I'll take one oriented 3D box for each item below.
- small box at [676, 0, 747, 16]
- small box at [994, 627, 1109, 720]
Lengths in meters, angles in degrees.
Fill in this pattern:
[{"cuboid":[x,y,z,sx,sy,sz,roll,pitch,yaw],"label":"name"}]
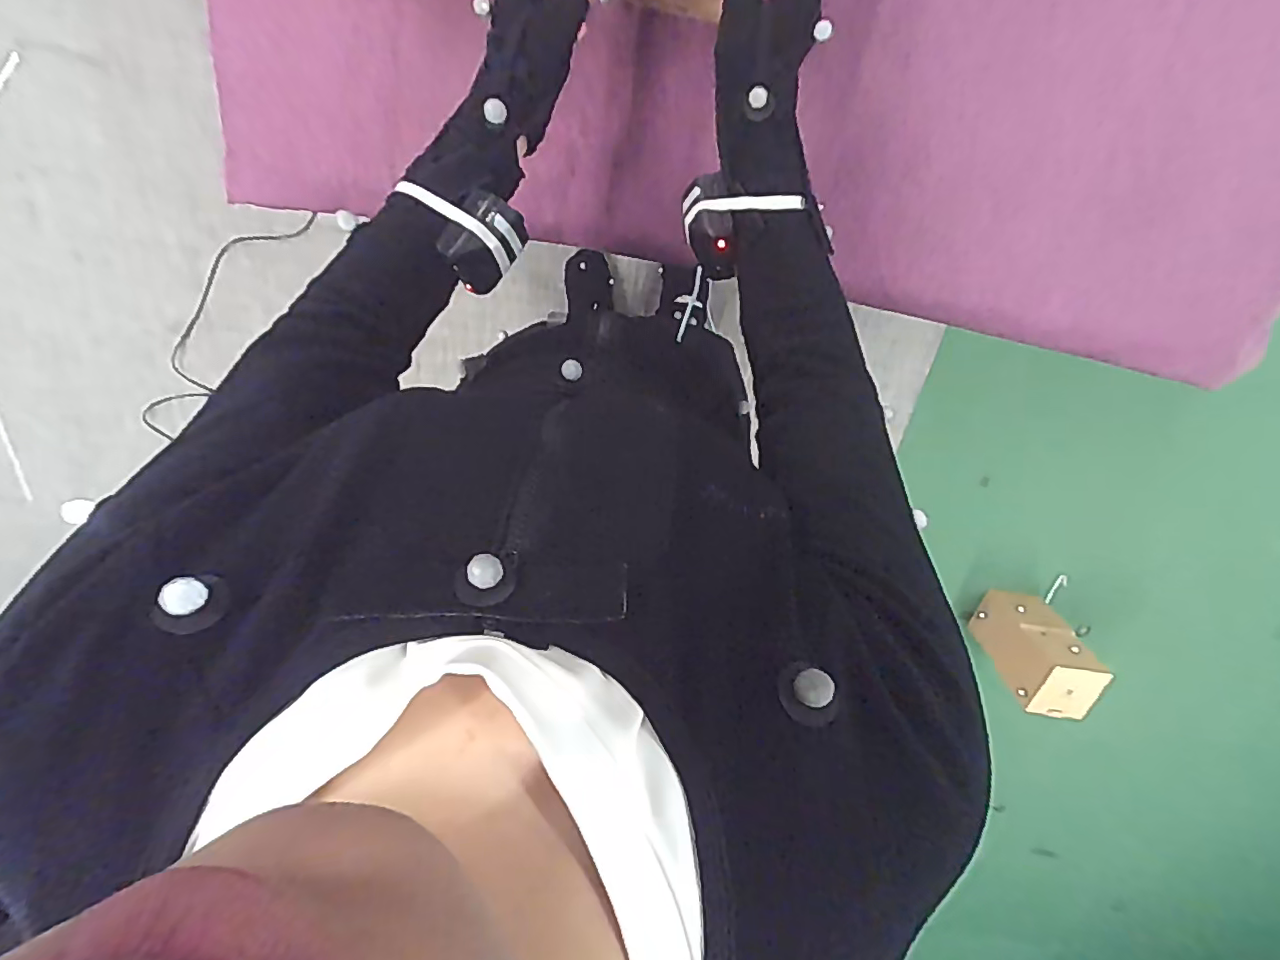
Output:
[{"cuboid":[0.036,-0.505,0.419,0.168,0.176,0.179,11,115,-4],"label":"small box"},{"cuboid":[1.156,0.546,1.539,0.168,0.176,0.179,9,117,-2],"label":"small box"}]
